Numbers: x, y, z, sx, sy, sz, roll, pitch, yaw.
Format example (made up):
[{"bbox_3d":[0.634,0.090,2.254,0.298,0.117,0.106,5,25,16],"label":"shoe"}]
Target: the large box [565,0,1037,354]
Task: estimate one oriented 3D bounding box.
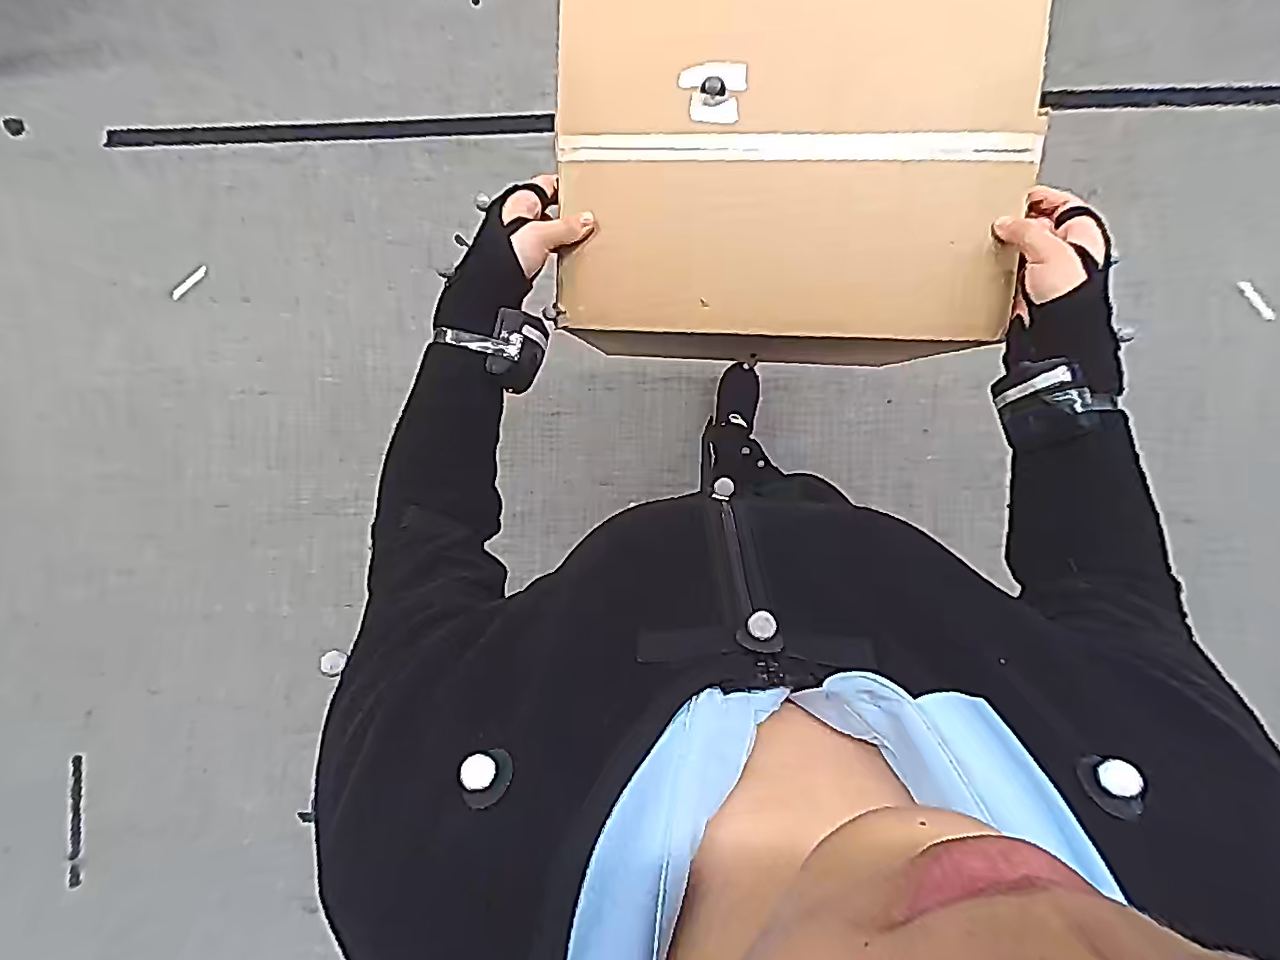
[{"bbox_3d":[0.146,-0.315,0.628,0.408,0.320,0.320,3,97,6],"label":"large box"}]
